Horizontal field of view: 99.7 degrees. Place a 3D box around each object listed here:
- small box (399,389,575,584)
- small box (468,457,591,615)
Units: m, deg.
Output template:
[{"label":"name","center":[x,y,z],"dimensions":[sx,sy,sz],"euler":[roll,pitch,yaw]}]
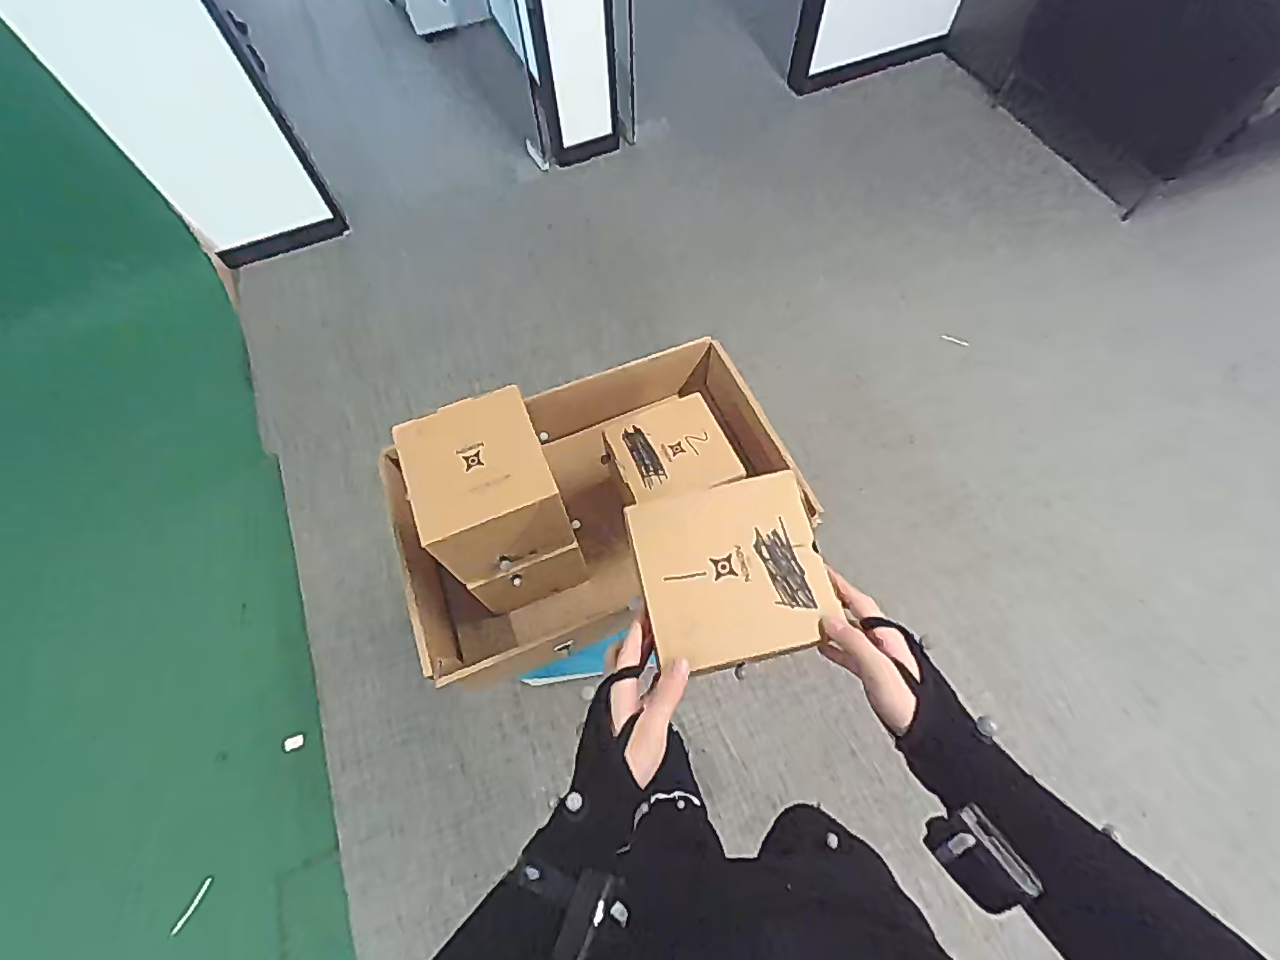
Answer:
[{"label":"small box","center":[-0.198,0.014,0.727],"dimensions":[0.168,0.176,0.179],"euler":[-21,64,-9]},{"label":"small box","center":[-0.188,0.092,0.870],"dimensions":[0.168,0.176,0.179],"euler":[-21,63,-8]}]
